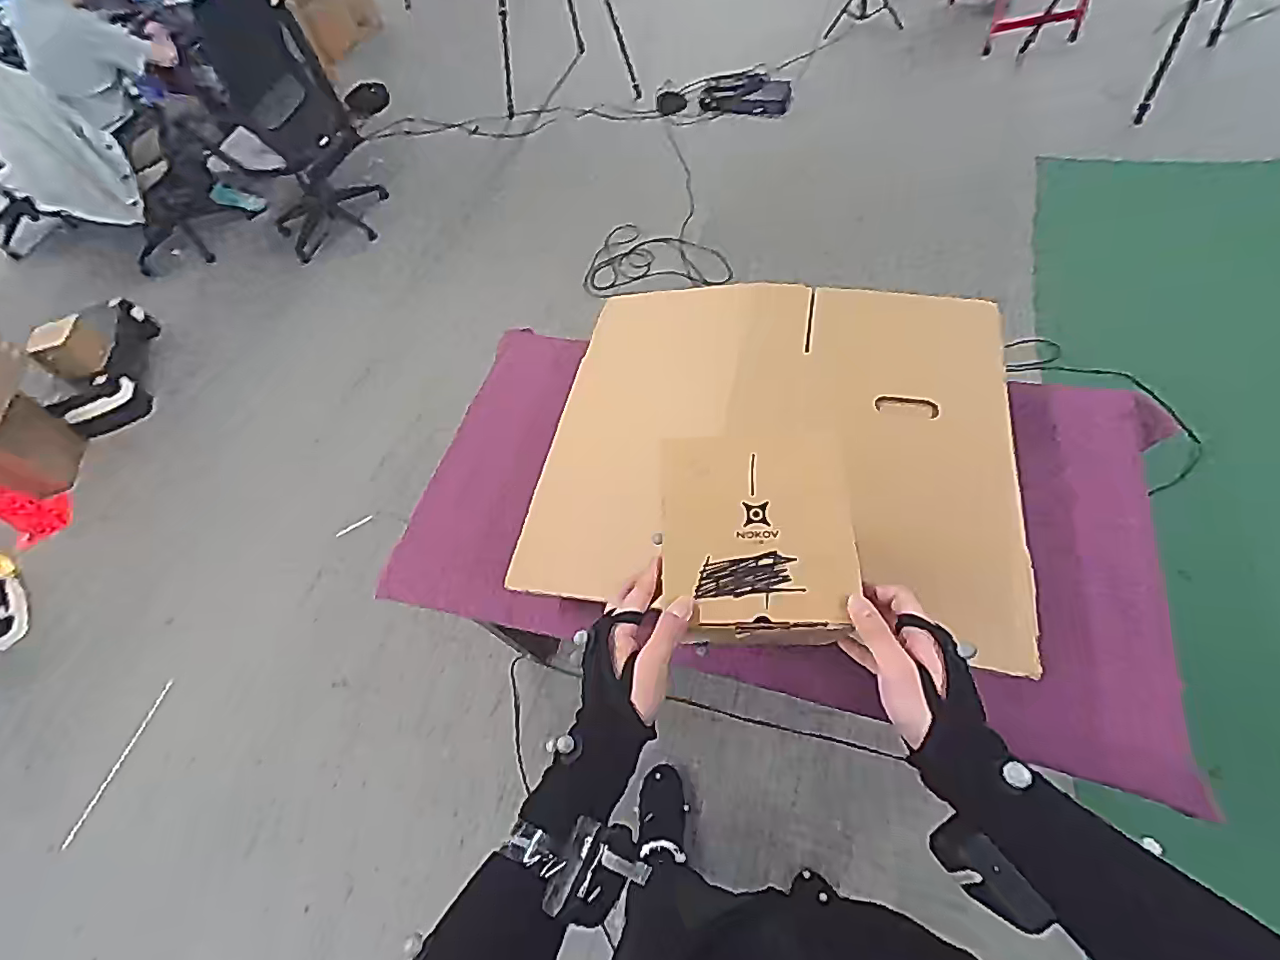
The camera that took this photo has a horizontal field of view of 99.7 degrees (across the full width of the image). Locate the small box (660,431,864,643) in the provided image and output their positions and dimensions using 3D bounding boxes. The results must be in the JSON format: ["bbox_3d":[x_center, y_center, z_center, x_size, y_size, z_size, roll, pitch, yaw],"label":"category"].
[{"bbox_3d":[0.110,0.066,0.541,0.168,0.176,0.179,-1,67,6],"label":"small box"}]
